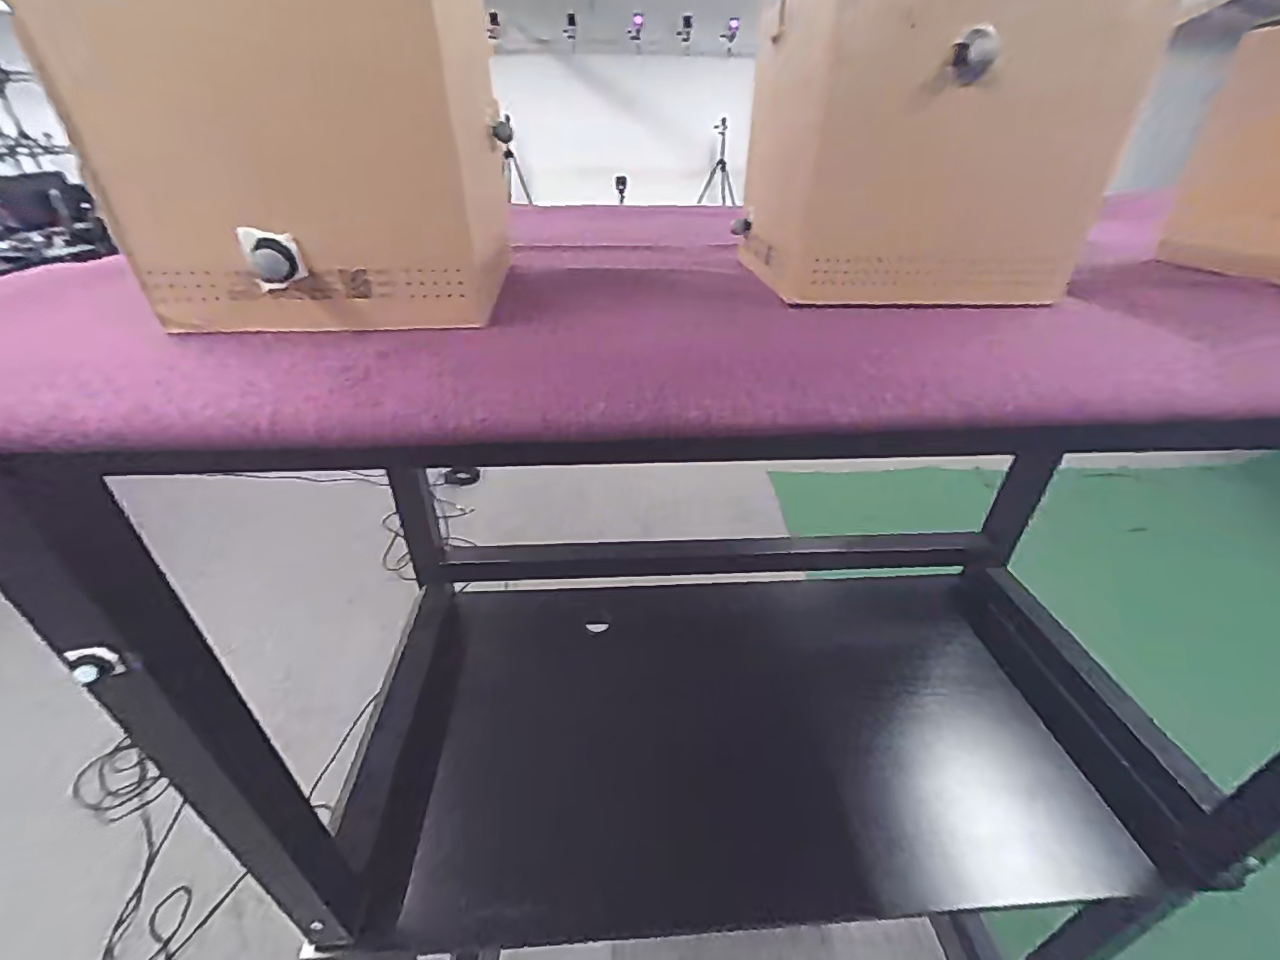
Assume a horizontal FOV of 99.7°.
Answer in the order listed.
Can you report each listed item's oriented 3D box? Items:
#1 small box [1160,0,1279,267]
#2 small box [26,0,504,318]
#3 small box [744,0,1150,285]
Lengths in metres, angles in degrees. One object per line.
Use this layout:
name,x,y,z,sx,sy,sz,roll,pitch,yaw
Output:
small box,0.531,-0.237,0.368,0.168,0.176,0.179,-1,31,0
small box,-0.175,-0.199,0.307,0.168,0.176,0.179,-4,35,-6
small box,0.171,-0.230,0.356,0.179,0.176,0.168,-1,32,-3
